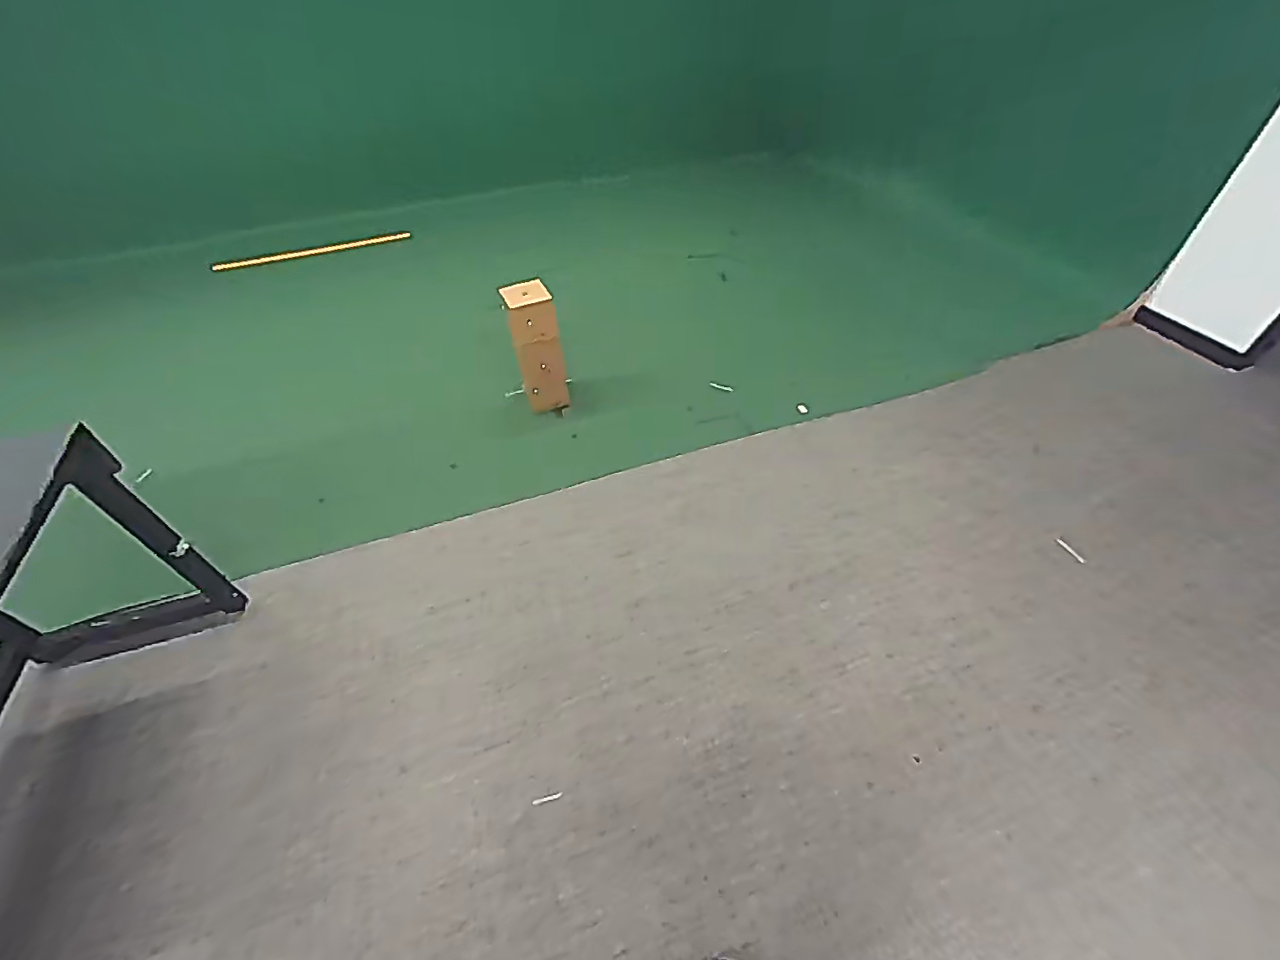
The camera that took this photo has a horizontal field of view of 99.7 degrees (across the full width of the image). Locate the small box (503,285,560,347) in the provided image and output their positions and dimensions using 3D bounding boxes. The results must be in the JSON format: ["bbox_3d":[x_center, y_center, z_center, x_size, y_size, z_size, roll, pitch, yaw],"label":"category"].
[{"bbox_3d":[-0.426,-0.641,2.136,0.168,0.176,0.179,-20,47,-15],"label":"small box"}]

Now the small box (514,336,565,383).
[{"bbox_3d":[-0.421,-0.531,2.254,0.168,0.176,0.179,-18,47,-13],"label":"small box"}]
